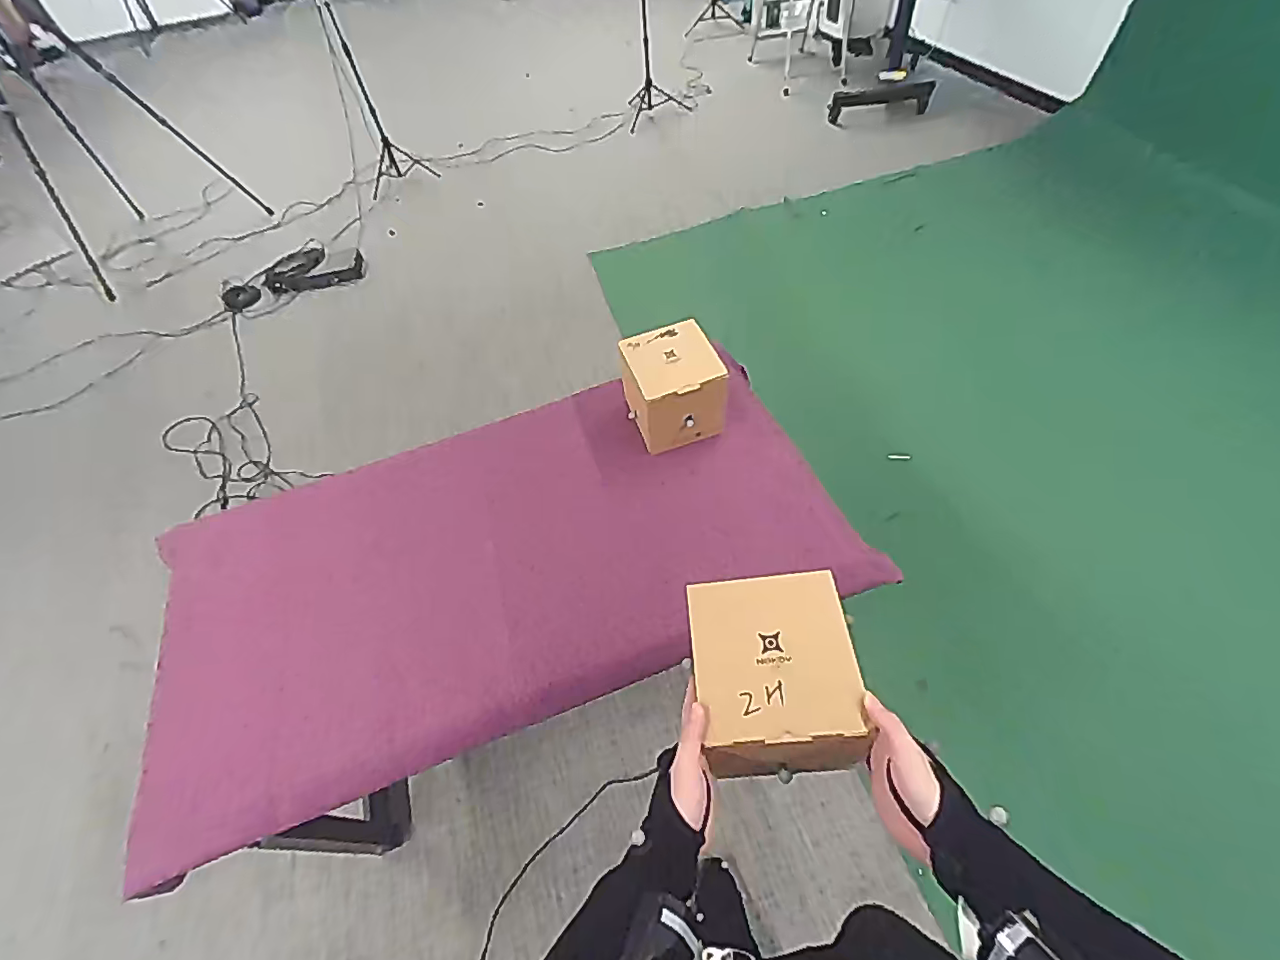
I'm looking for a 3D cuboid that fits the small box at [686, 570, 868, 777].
[{"bbox_3d":[0.147,0.228,0.629,0.168,0.176,0.179,-7,50,7],"label":"small box"}]

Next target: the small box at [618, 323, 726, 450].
[{"bbox_3d":[0.065,-0.181,1.101,0.168,0.176,0.179,-18,57,-7],"label":"small box"}]
